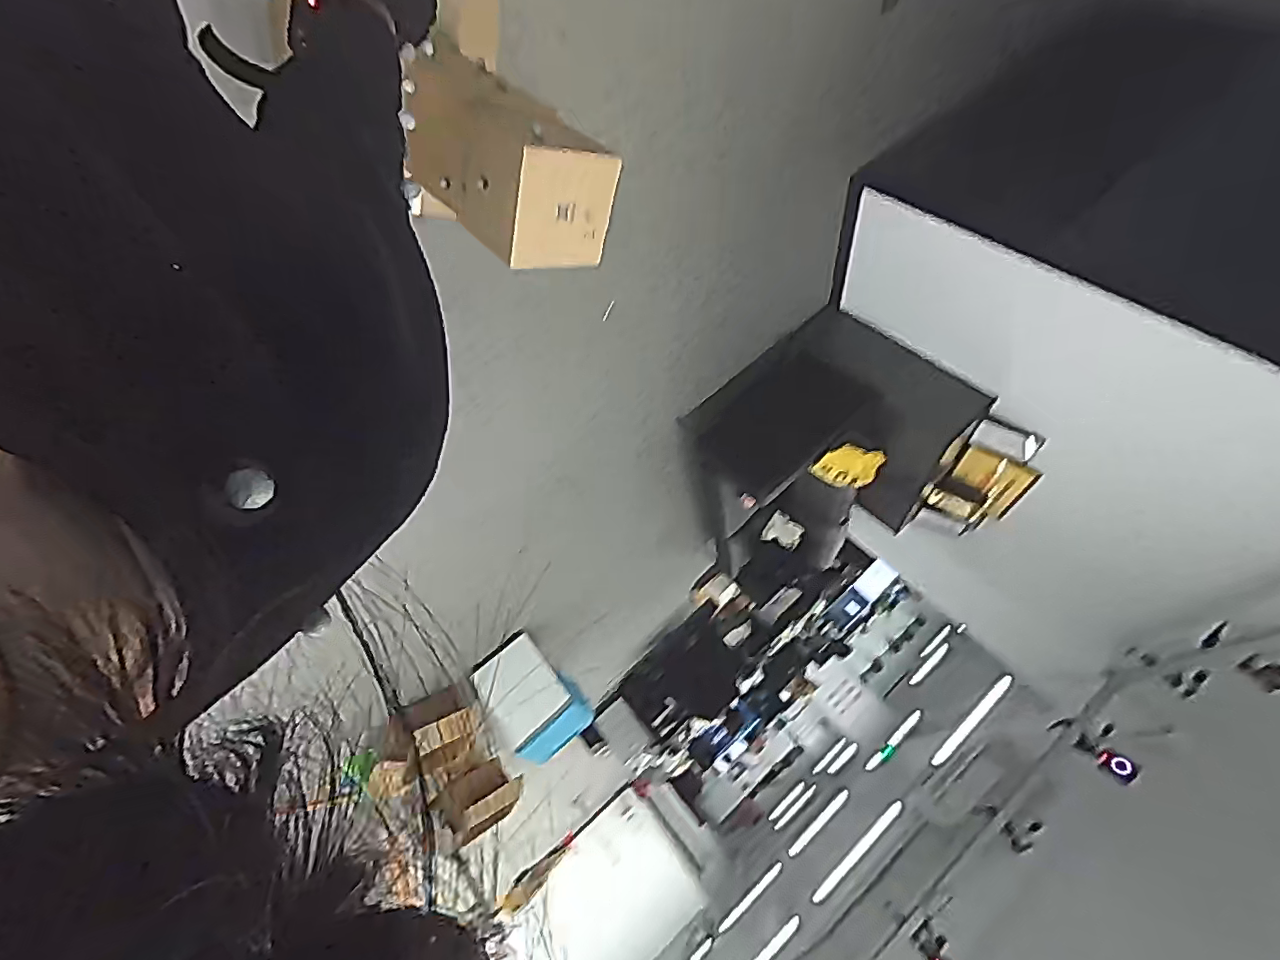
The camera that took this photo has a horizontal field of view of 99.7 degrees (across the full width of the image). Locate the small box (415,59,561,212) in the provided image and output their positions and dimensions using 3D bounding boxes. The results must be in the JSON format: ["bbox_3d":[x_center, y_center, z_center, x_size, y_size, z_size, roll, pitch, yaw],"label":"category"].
[{"bbox_3d":[-0.258,-0.563,0.899,0.168,0.176,0.179,-21,146,-39],"label":"small box"}]

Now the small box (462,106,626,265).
[{"bbox_3d":[-0.155,-0.450,0.834,0.179,0.176,0.168,-21,146,-39],"label":"small box"}]
